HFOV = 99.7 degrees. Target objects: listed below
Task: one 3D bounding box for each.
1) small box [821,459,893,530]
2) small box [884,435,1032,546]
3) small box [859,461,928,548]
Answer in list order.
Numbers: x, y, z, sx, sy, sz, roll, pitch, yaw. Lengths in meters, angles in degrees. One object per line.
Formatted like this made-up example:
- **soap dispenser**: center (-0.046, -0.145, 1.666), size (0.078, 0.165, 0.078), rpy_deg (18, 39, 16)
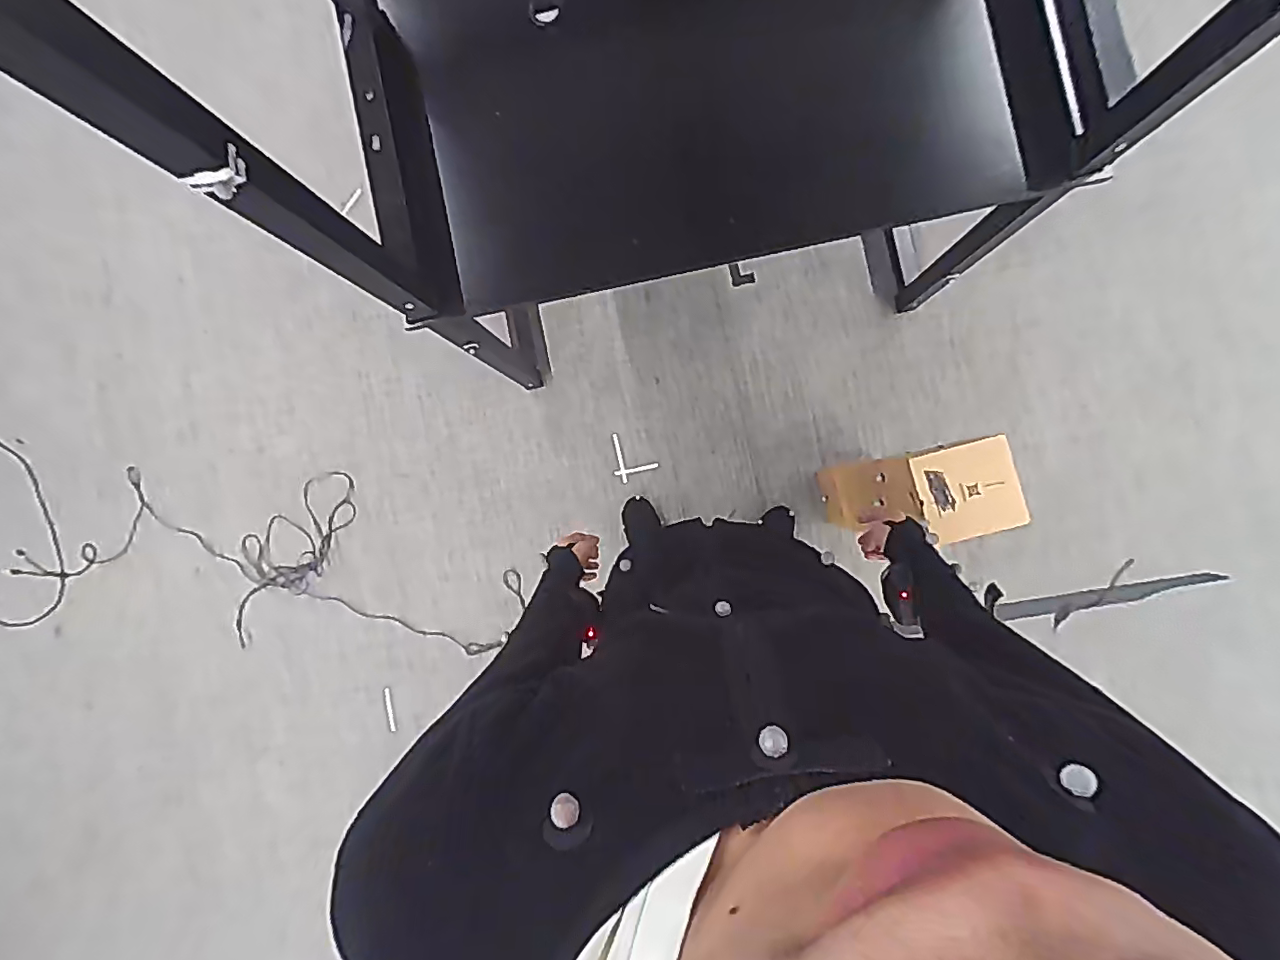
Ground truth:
- **small box**: center (0.629, 0.037, 1.518), size (0.179, 0.176, 0.168), rpy_deg (-13, 88, 5)
- **small box**: center (0.588, 0.022, 1.029), size (0.179, 0.176, 0.168), rpy_deg (-15, 88, 4)
- **small box**: center (0.607, 0.039, 1.192), size (0.168, 0.176, 0.179), rpy_deg (-14, 88, 5)
